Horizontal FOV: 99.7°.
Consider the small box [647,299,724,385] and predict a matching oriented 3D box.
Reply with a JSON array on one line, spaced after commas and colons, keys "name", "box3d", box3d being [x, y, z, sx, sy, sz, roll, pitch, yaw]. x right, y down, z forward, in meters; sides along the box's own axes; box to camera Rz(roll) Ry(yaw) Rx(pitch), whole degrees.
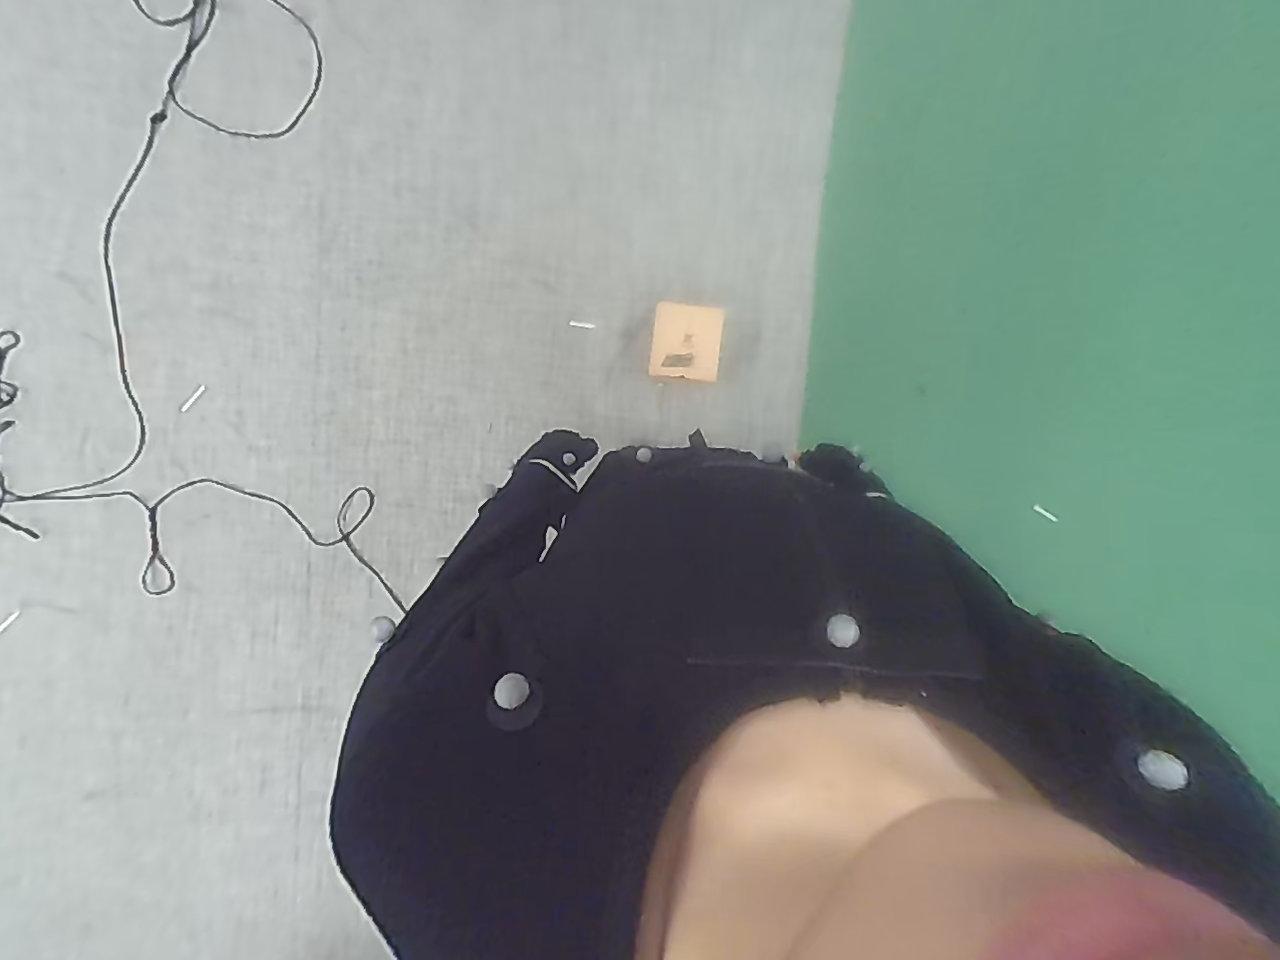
[{"name": "small box", "box3d": [0.112, -0.341, 1.368, 0.168, 0.176, 0.179, 7, 94, 0]}]
